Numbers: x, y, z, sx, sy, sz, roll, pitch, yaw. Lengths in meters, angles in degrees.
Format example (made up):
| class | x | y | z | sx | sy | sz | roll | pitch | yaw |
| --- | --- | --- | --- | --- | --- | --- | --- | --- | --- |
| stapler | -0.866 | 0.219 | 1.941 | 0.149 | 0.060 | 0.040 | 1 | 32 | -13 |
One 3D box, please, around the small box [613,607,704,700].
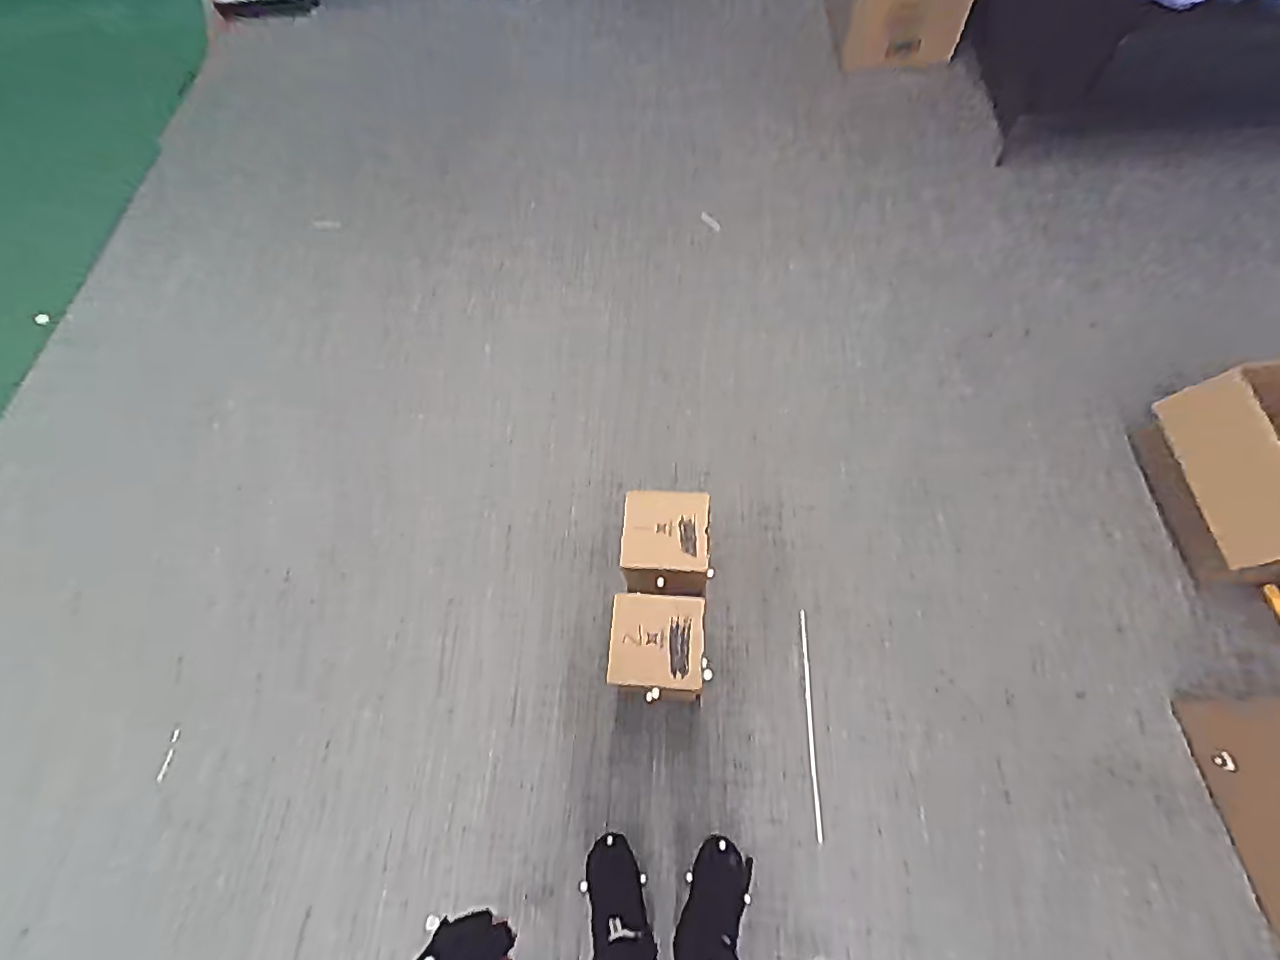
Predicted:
| class | x | y | z | sx | sy | sz | roll | pitch | yaw |
| --- | --- | --- | --- | --- | --- | --- | --- | --- | --- |
| small box | 0.048 | 0.395 | 1.217 | 0.179 | 0.176 | 0.168 | 6 | 67 | 8 |
